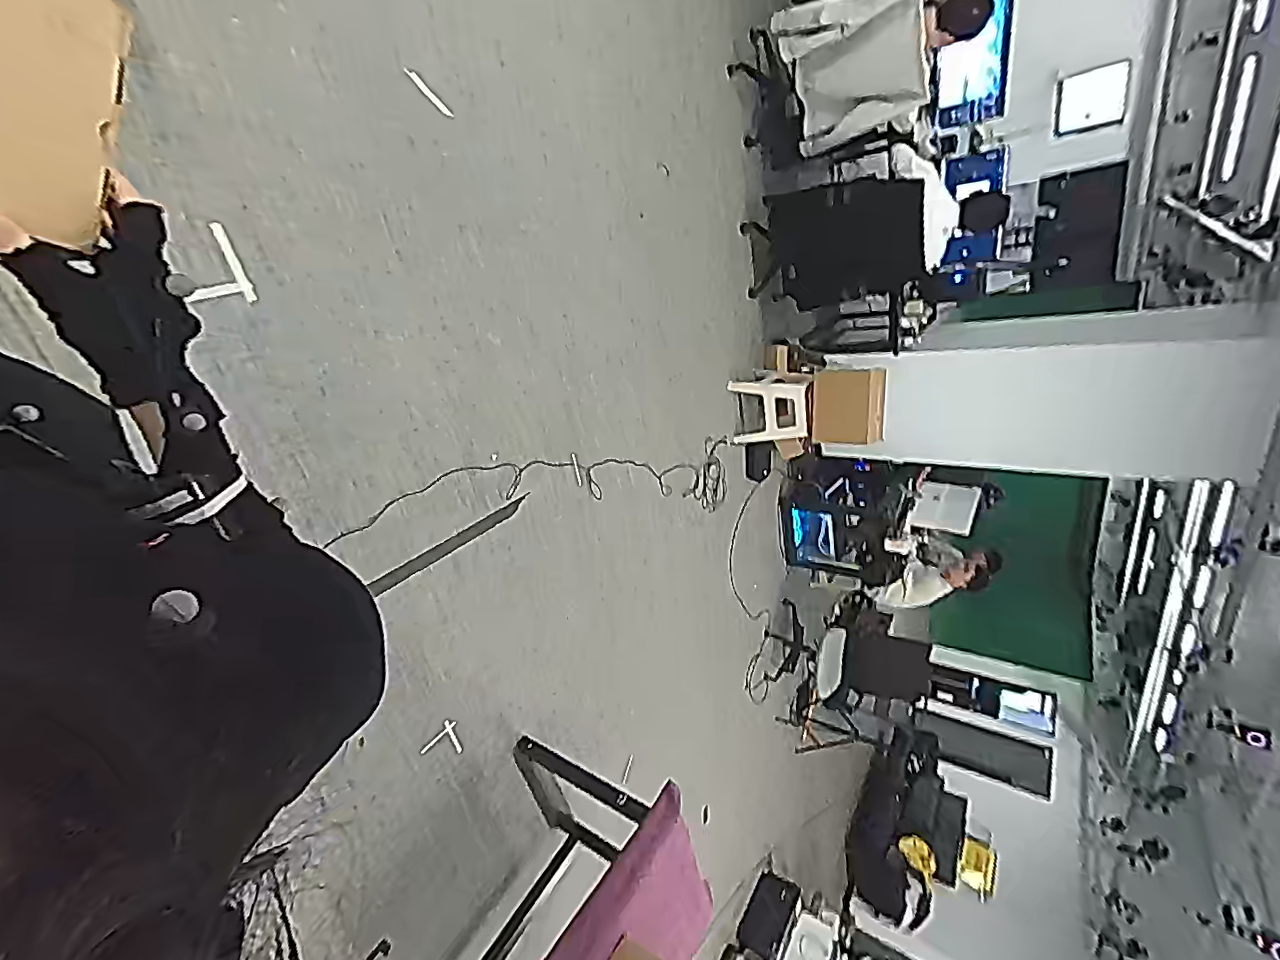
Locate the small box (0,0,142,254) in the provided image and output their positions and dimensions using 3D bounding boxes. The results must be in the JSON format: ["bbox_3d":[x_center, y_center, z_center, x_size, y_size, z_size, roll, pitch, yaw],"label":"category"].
[{"bbox_3d":[-0.450,-0.248,0.318,0.179,0.176,0.168,7,92,-62],"label":"small box"}]
